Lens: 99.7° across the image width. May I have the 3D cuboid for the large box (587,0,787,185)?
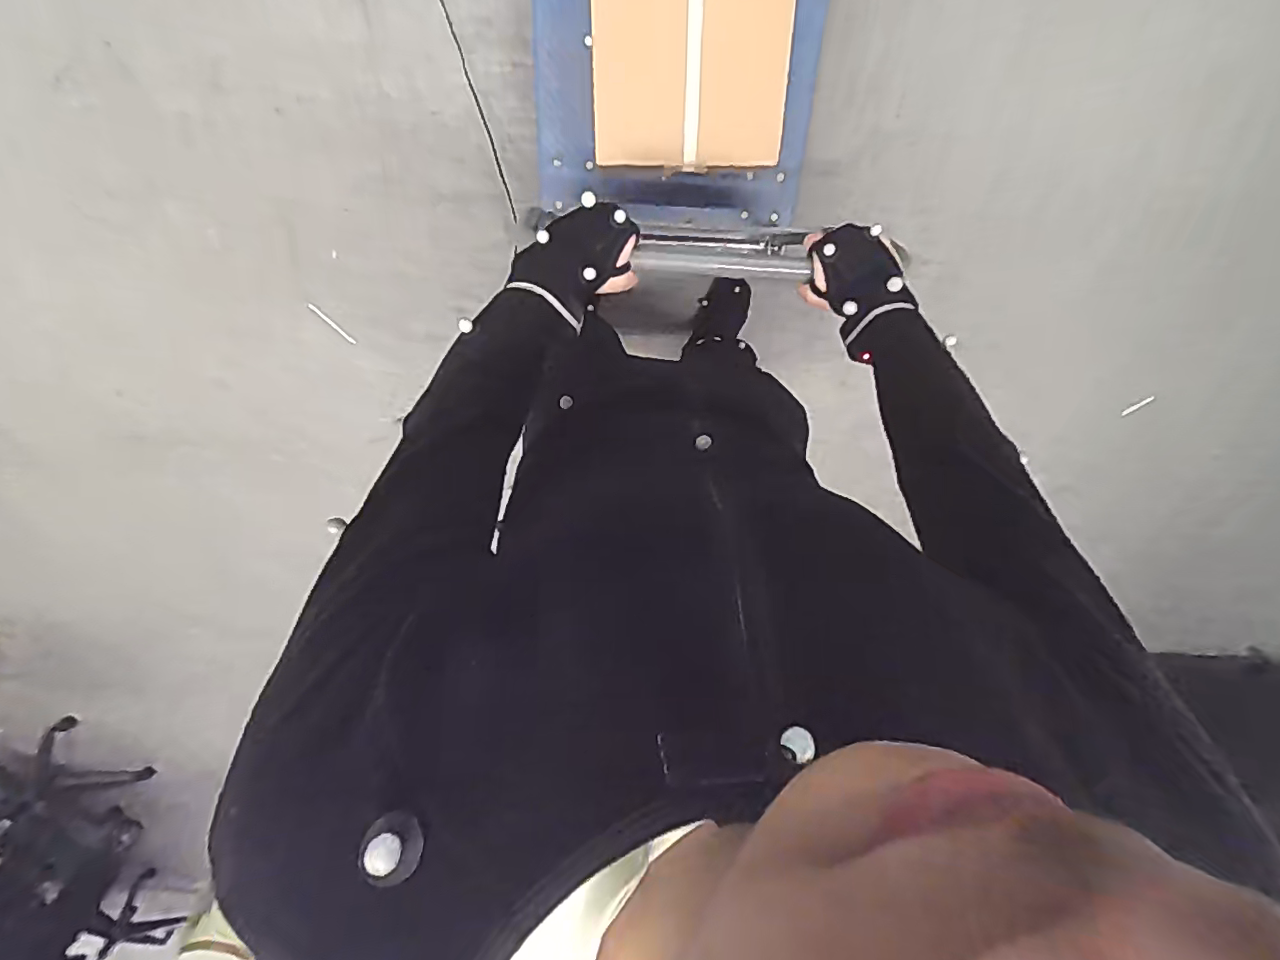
[{"bbox_3d":[0.071,-0.769,0.978,0.320,0.320,0.408,-1,117,-2],"label":"large box"}]
